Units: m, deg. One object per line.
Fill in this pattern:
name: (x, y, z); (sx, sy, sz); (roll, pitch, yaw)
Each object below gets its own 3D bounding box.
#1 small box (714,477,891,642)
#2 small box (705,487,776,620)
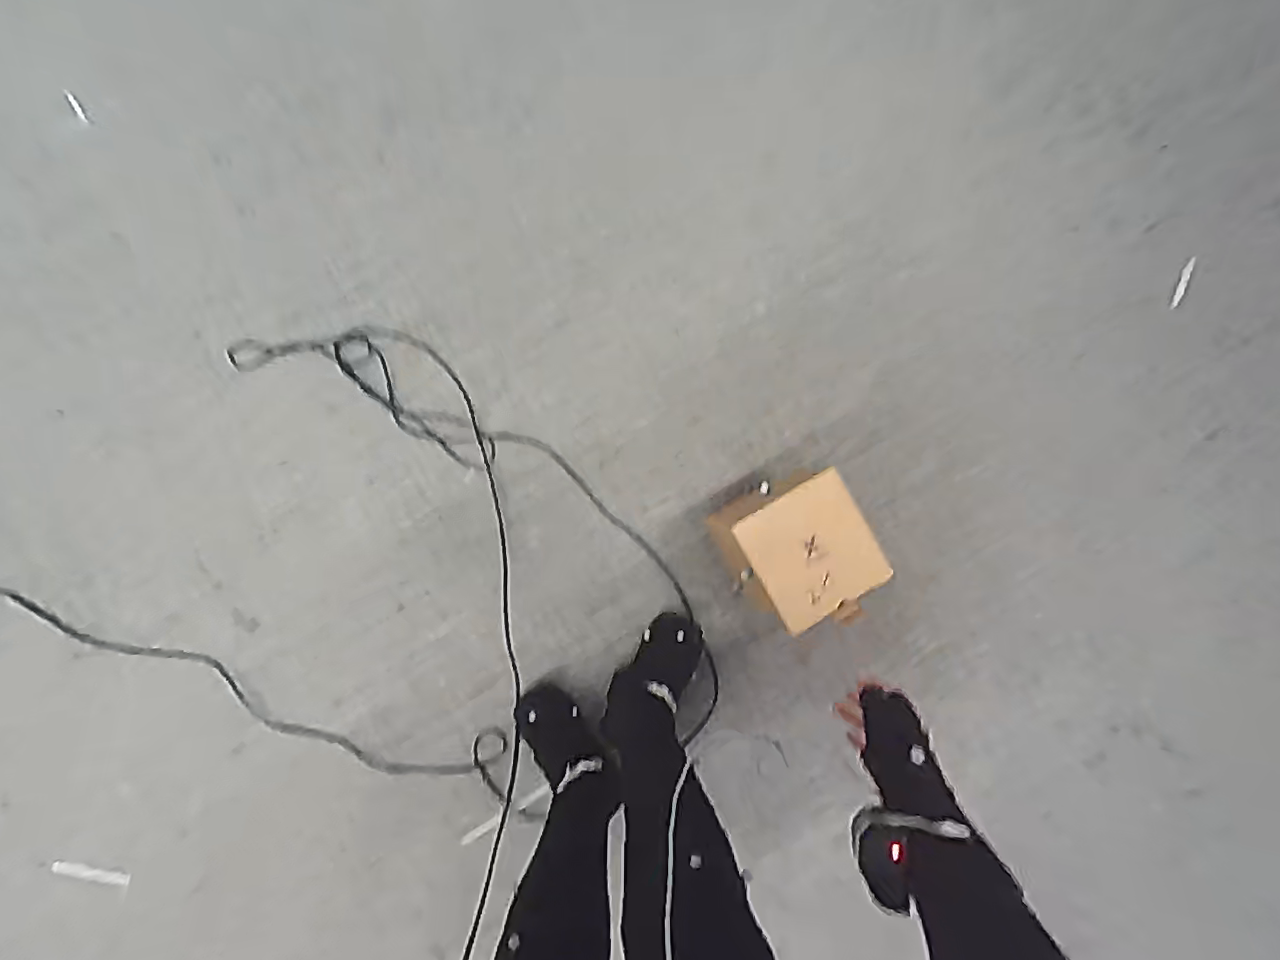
small box: (0.232, 0.110, 0.820); (0.168, 0.176, 0.179); (-30, 92, -2)
small box: (0.237, 0.123, 0.985); (0.168, 0.176, 0.179); (-27, 92, -3)
